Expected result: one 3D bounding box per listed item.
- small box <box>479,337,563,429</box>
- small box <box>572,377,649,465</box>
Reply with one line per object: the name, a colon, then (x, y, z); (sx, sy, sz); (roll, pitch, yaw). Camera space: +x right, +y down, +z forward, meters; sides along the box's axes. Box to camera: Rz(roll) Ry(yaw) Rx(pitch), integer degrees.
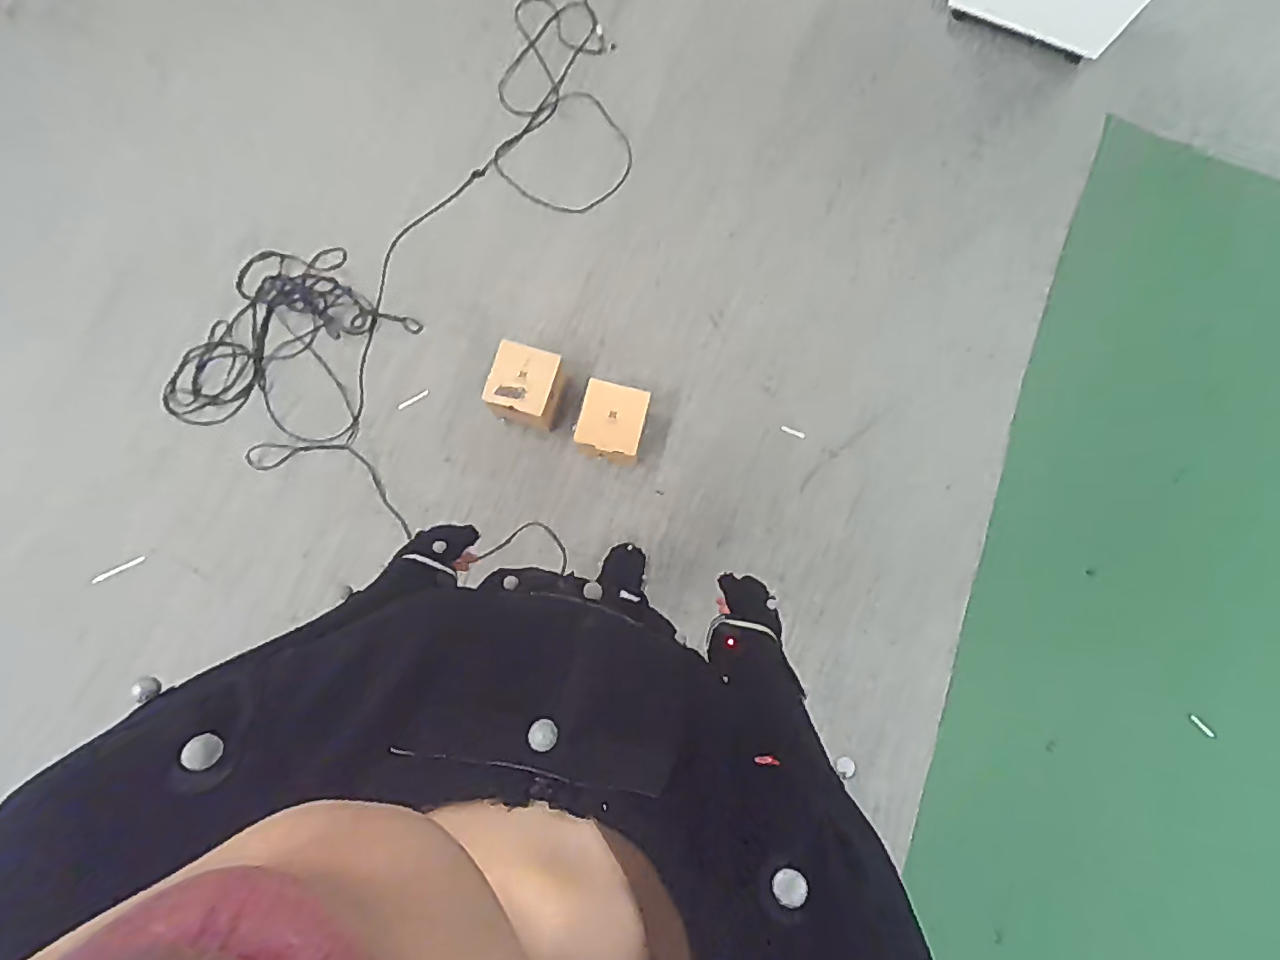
small box: (-0.313, -0.254, 1.466); (0.168, 0.176, 0.179); (17, 81, 0)
small box: (-0.078, -0.154, 1.462); (0.168, 0.176, 0.179); (14, 83, 0)
